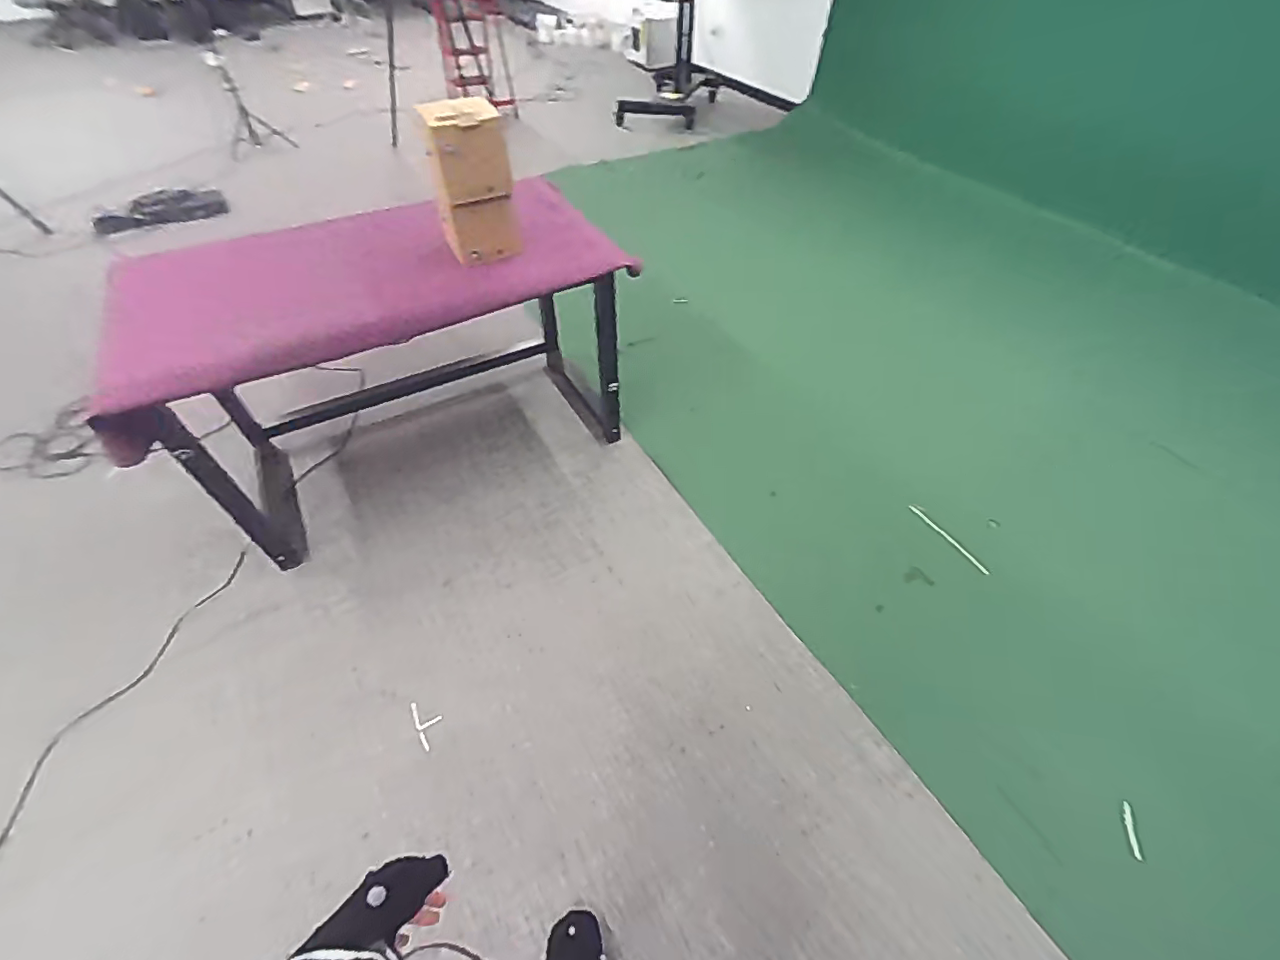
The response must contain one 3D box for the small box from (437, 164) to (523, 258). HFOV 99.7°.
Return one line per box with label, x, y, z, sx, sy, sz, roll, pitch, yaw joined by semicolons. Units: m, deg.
small box;-0.419;-0.707;1.435;0.168;0.176;0.179;-18;53;-18
